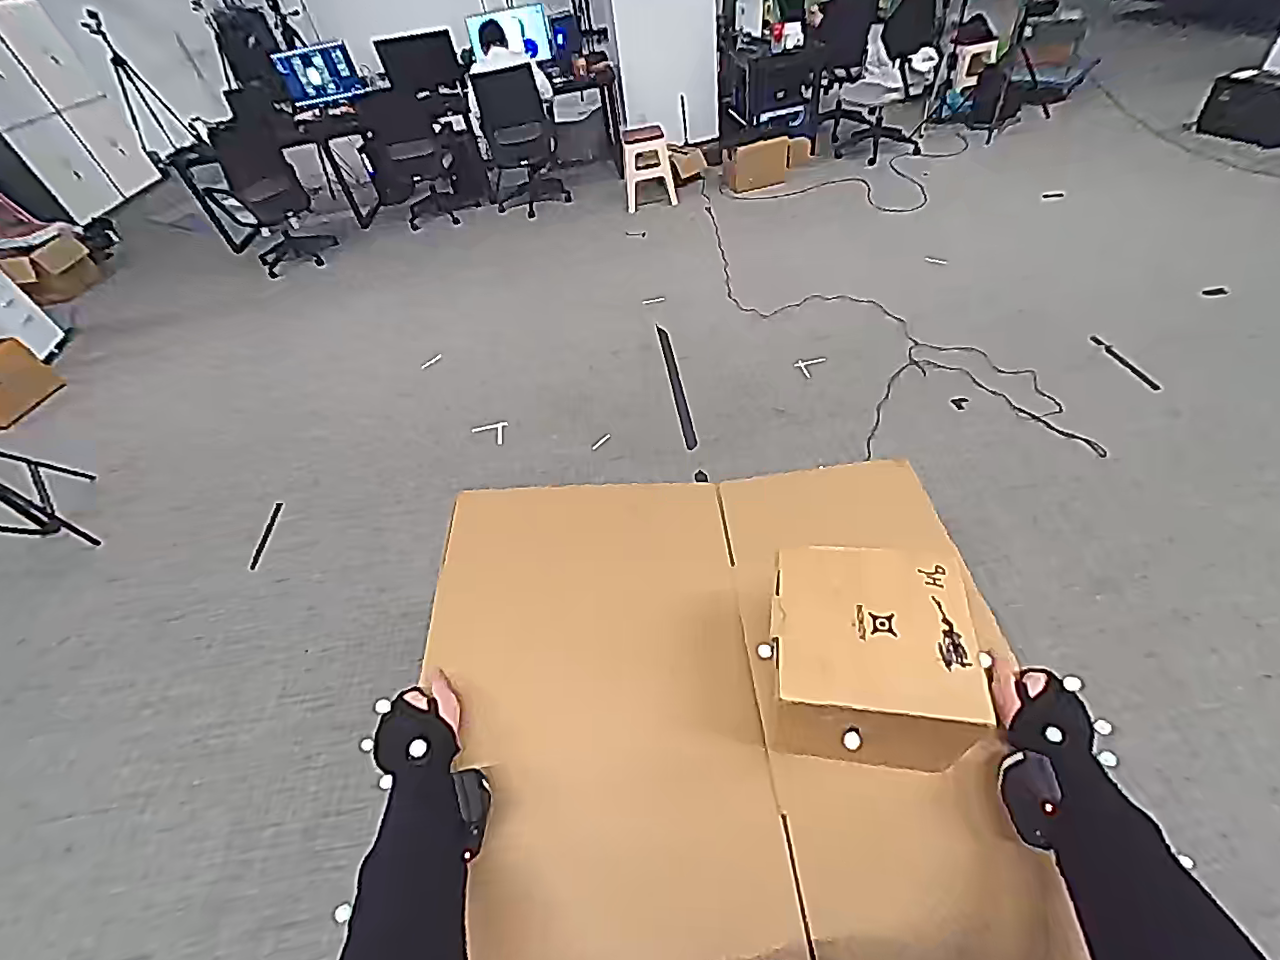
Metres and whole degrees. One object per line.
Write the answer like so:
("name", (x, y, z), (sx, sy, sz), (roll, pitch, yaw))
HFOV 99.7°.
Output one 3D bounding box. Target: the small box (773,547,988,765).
("small box", (0.234, 0.188, 0.576), (0.179, 0.176, 0.168), (1, 50, 14))
